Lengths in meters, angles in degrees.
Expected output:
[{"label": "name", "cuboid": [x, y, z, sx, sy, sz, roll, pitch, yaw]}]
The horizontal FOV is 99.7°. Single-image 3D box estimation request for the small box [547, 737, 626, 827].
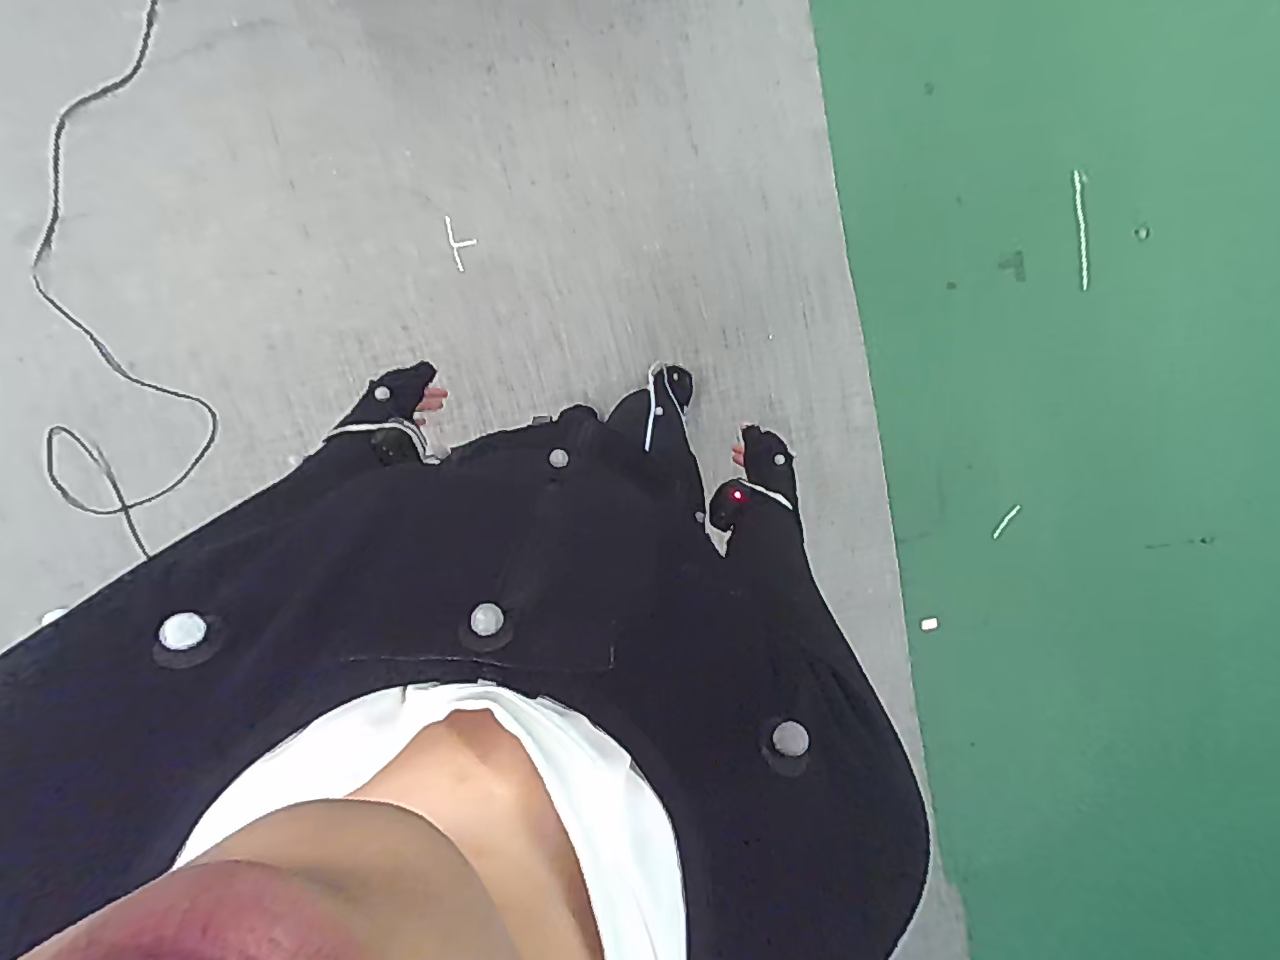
[{"label": "small box", "cuboid": [-0.148, 0.833, 1.473, 0.168, 0.176, 0.179, -19, 101, -4]}]
